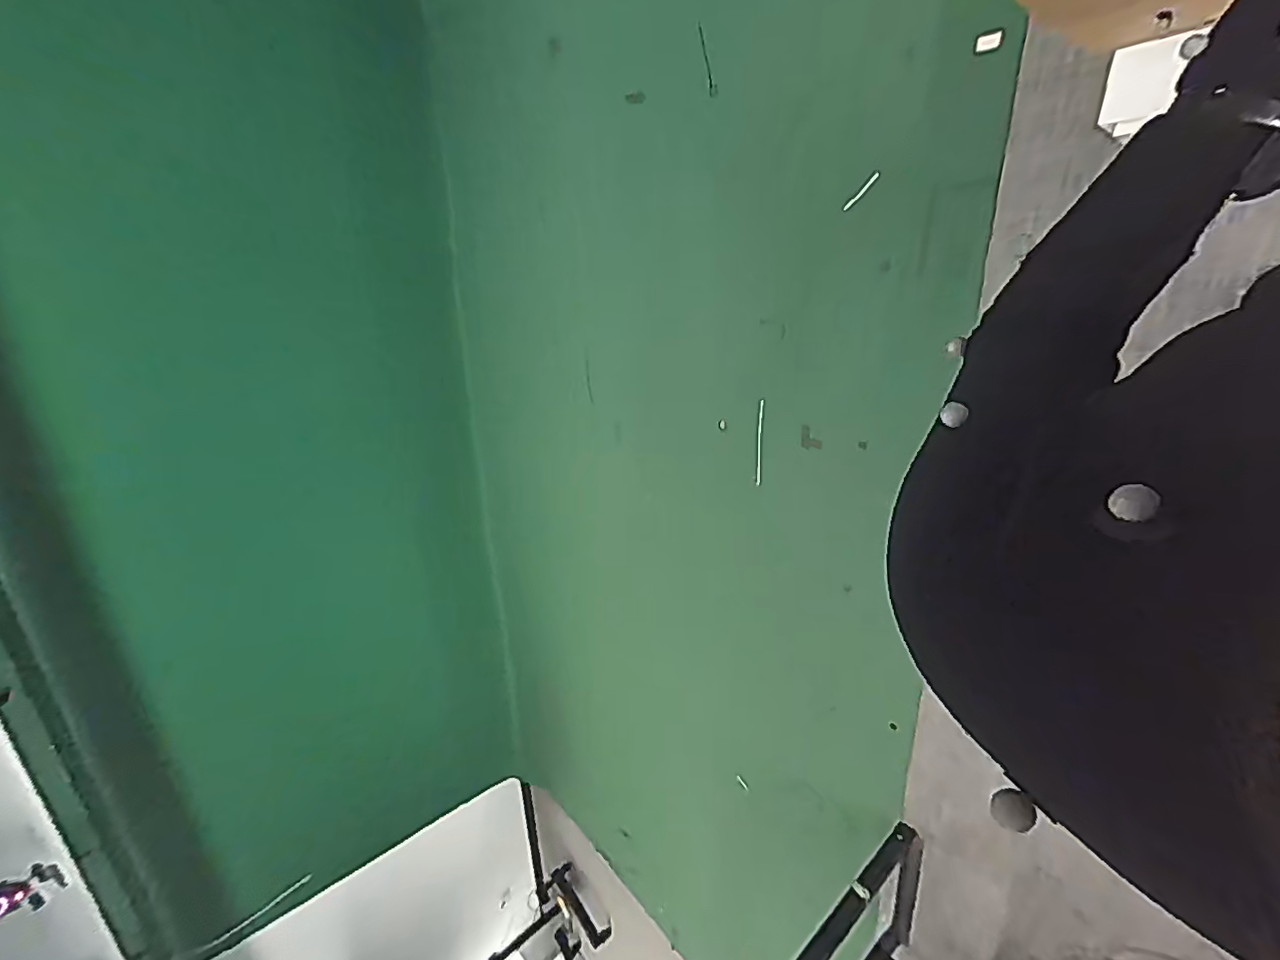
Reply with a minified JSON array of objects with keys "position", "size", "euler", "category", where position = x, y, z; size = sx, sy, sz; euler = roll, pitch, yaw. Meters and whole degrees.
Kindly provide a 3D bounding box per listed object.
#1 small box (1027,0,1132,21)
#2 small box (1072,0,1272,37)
[{"position":[0.419,-0.509,0.424],"size":[0.179,0.176,0.168],"euler":[20,118,46],"category":"small box"},{"position":[0.540,-0.563,0.518],"size":[0.168,0.176,0.179],"euler":[20,119,44],"category":"small box"}]
